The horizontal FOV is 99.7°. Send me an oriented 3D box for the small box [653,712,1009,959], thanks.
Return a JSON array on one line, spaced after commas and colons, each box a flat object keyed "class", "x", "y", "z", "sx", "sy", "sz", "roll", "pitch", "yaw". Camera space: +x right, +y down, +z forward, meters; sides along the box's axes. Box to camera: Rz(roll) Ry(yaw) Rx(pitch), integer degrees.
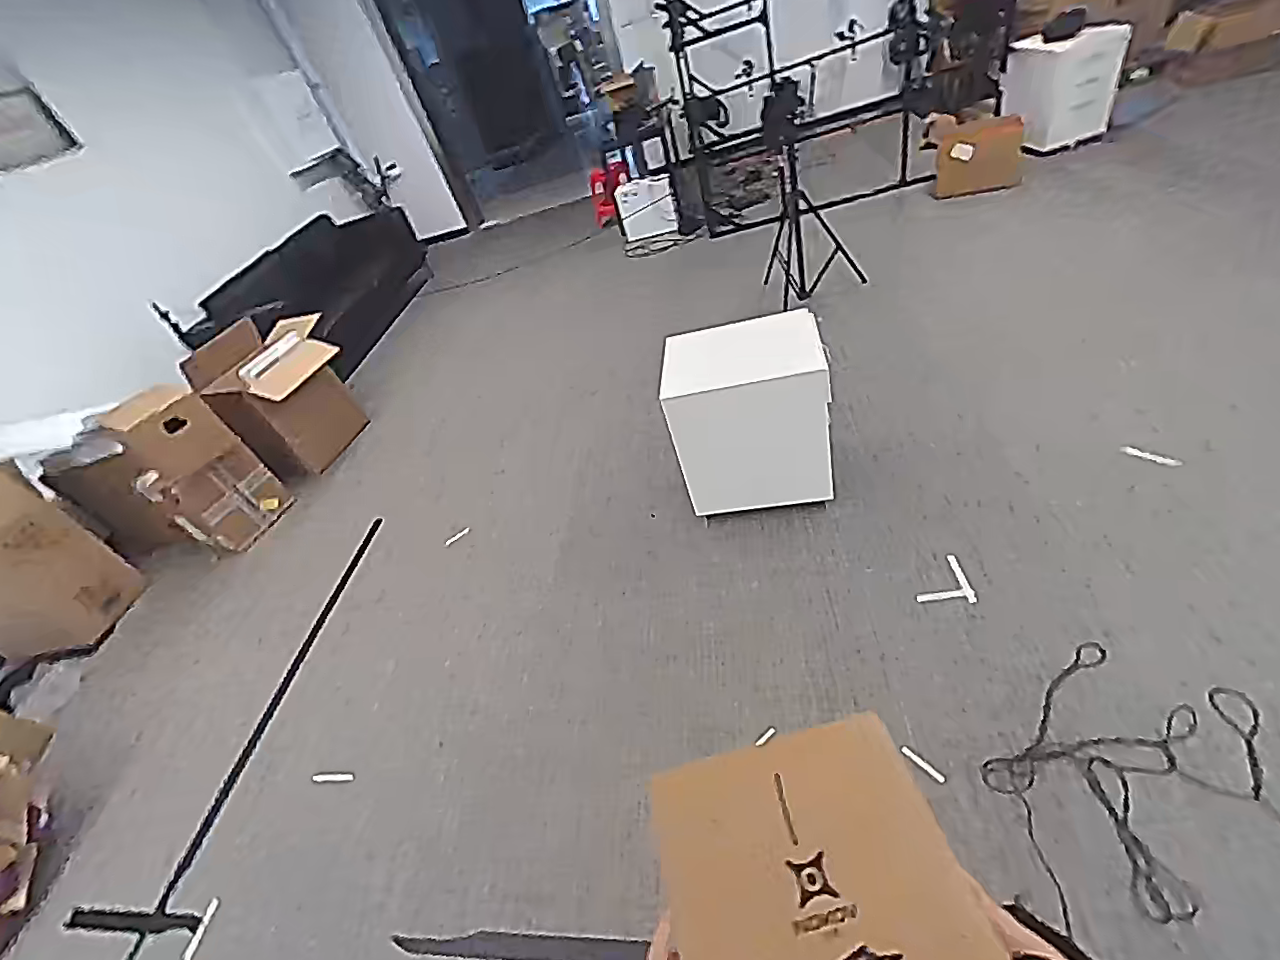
[{"class": "small box", "x": 0.117, "y": 0.291, "z": 0.359, "sx": 0.168, "sy": 0.176, "sz": 0.179, "roll": -15, "pitch": 41, "yaw": 0}]
